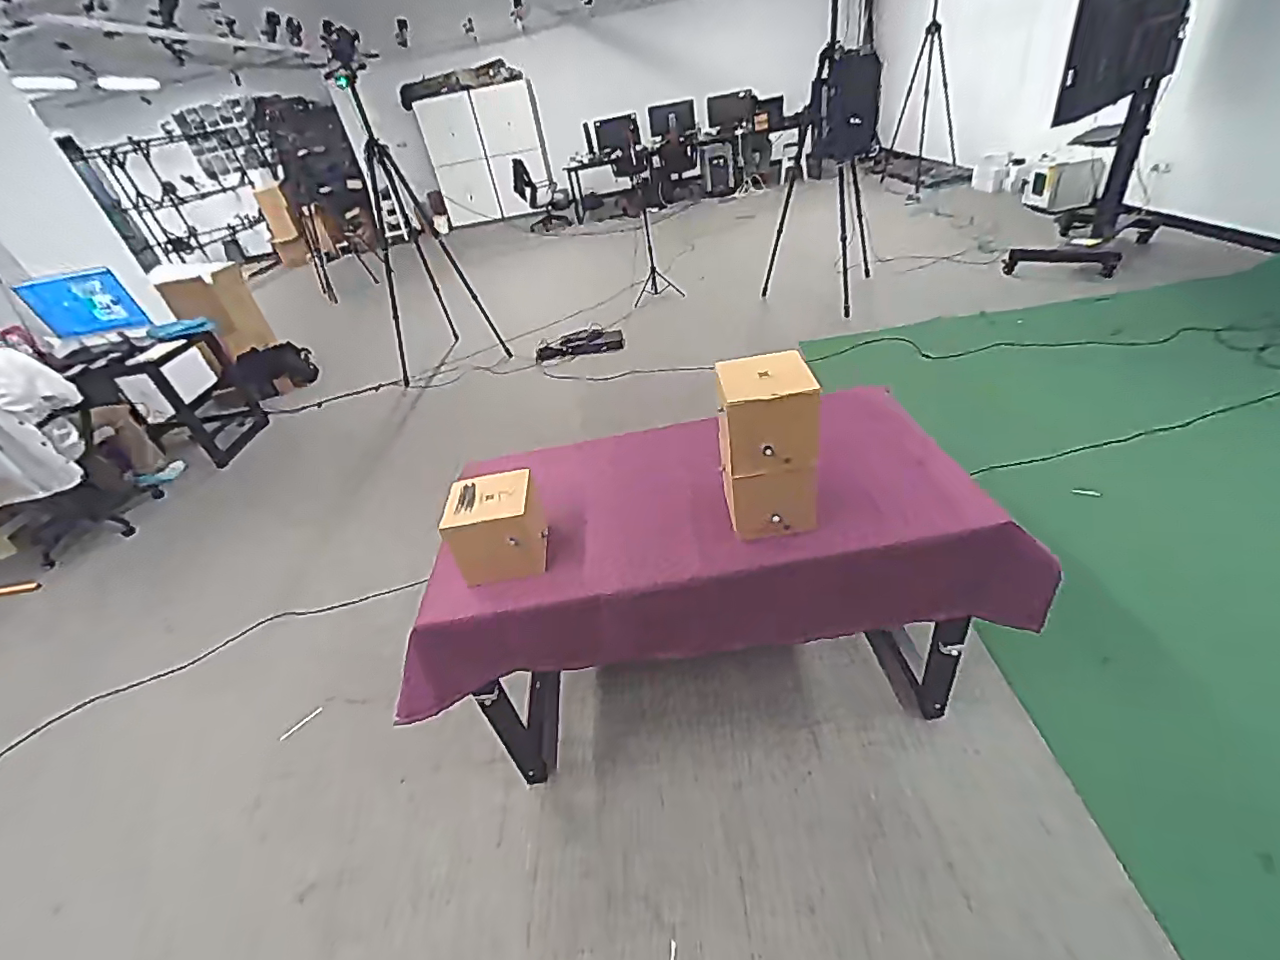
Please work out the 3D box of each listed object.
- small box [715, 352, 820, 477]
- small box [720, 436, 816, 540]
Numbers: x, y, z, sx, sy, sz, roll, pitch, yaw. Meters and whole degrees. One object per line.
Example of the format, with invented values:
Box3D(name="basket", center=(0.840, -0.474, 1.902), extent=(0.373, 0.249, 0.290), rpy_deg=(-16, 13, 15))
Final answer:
Box3D(name="small box", center=(0.242, -0.127, 1.052), extent=(0.168, 0.176, 0.179), rpy_deg=(-8, 37, 4))
Box3D(name="small box", center=(0.266, 0.003, 1.147), extent=(0.168, 0.176, 0.179), rpy_deg=(-9, 36, 5))
